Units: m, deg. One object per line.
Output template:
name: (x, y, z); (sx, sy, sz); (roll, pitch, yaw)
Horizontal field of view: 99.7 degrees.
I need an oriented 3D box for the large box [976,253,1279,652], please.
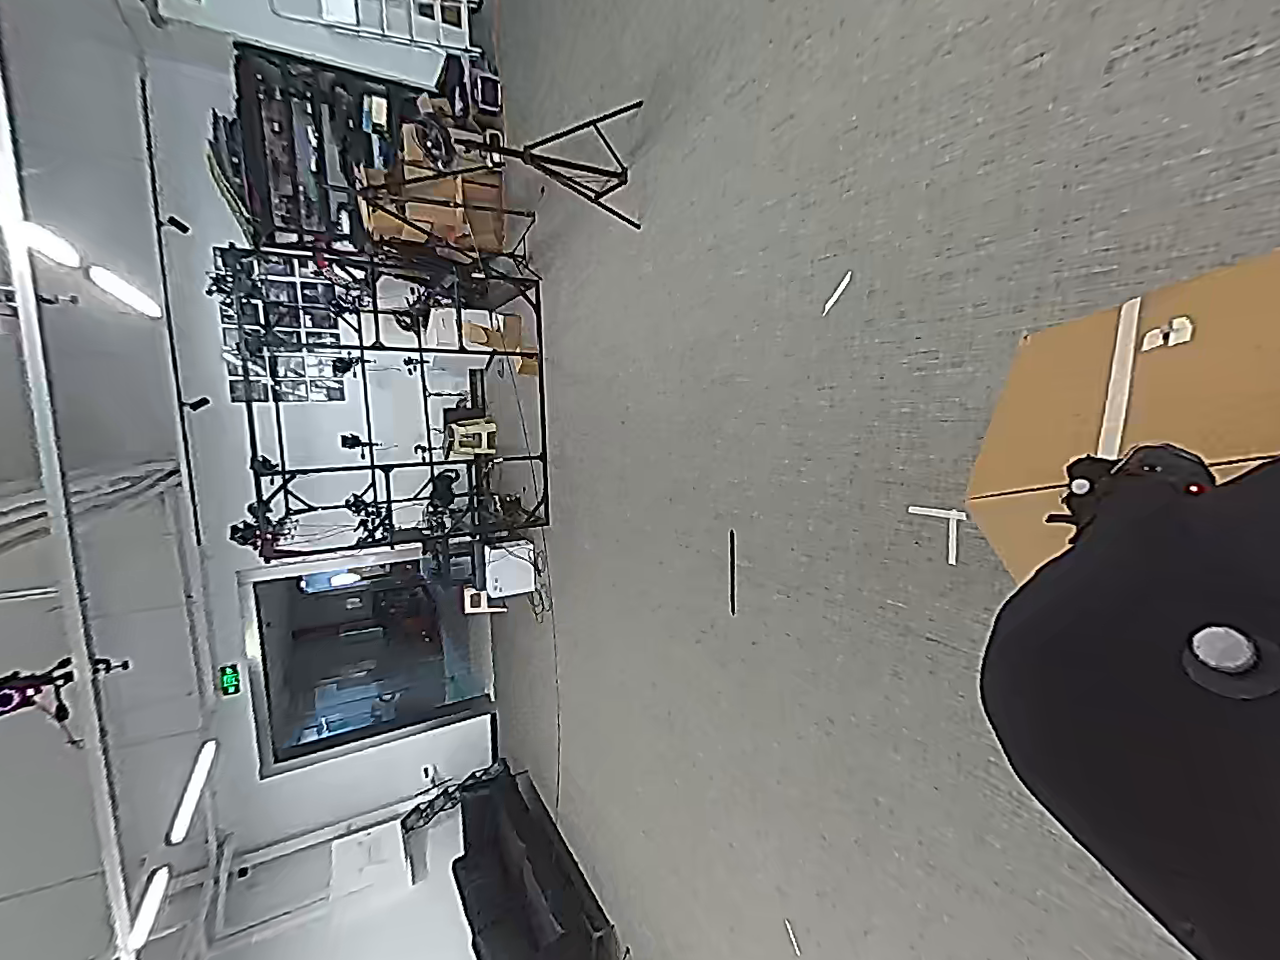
large box: (0.732, -0.024, 0.743); (0.320, 0.408, 0.320); (49, 148, -16)
